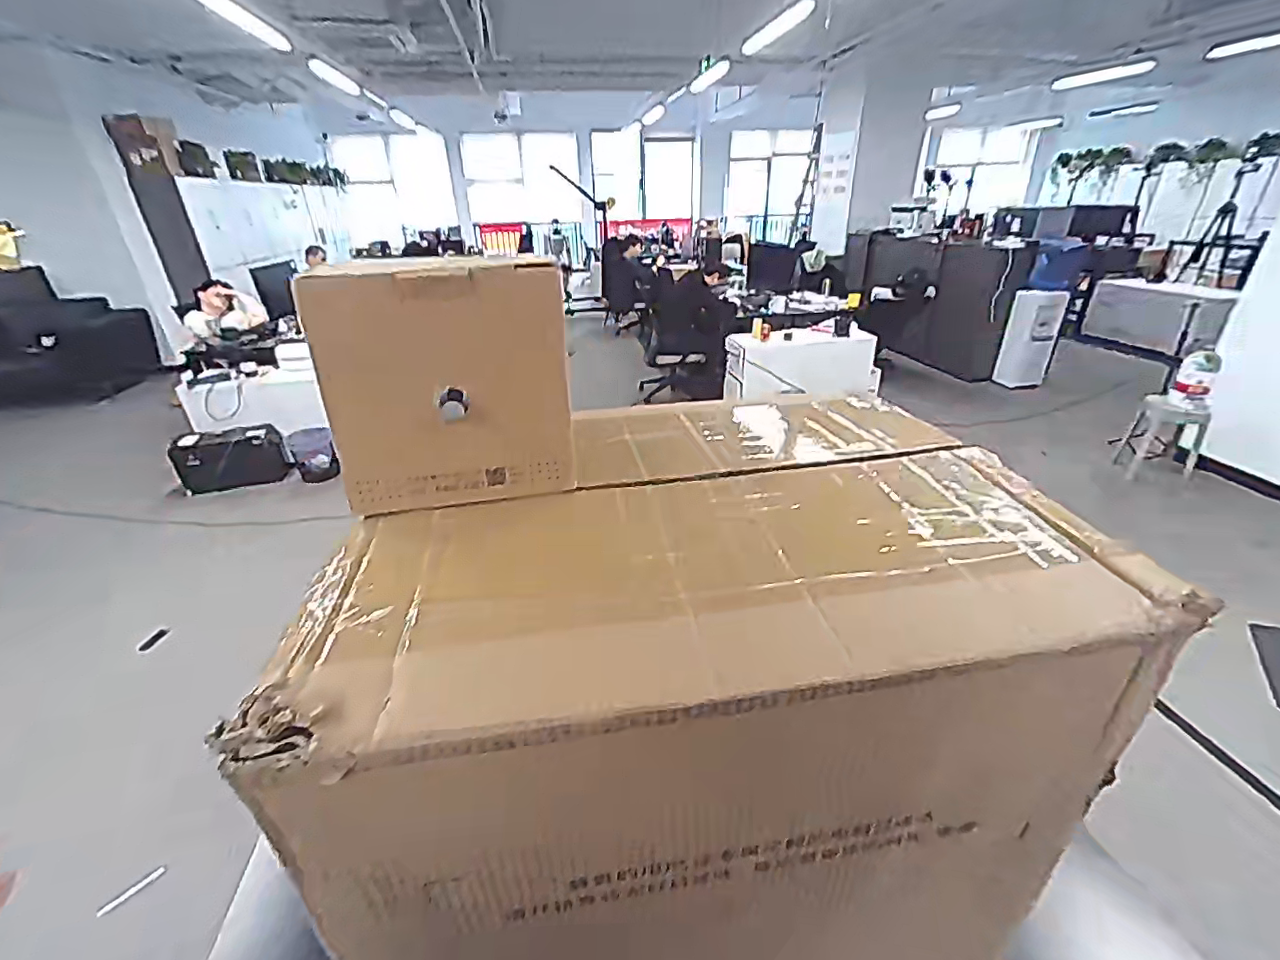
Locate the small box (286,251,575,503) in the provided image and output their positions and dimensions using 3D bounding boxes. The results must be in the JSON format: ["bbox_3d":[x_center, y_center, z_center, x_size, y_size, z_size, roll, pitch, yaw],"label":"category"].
[{"bbox_3d":[-0.150,-0.089,0.445,0.168,0.176,0.179,-7,26,-12],"label":"small box"}]
